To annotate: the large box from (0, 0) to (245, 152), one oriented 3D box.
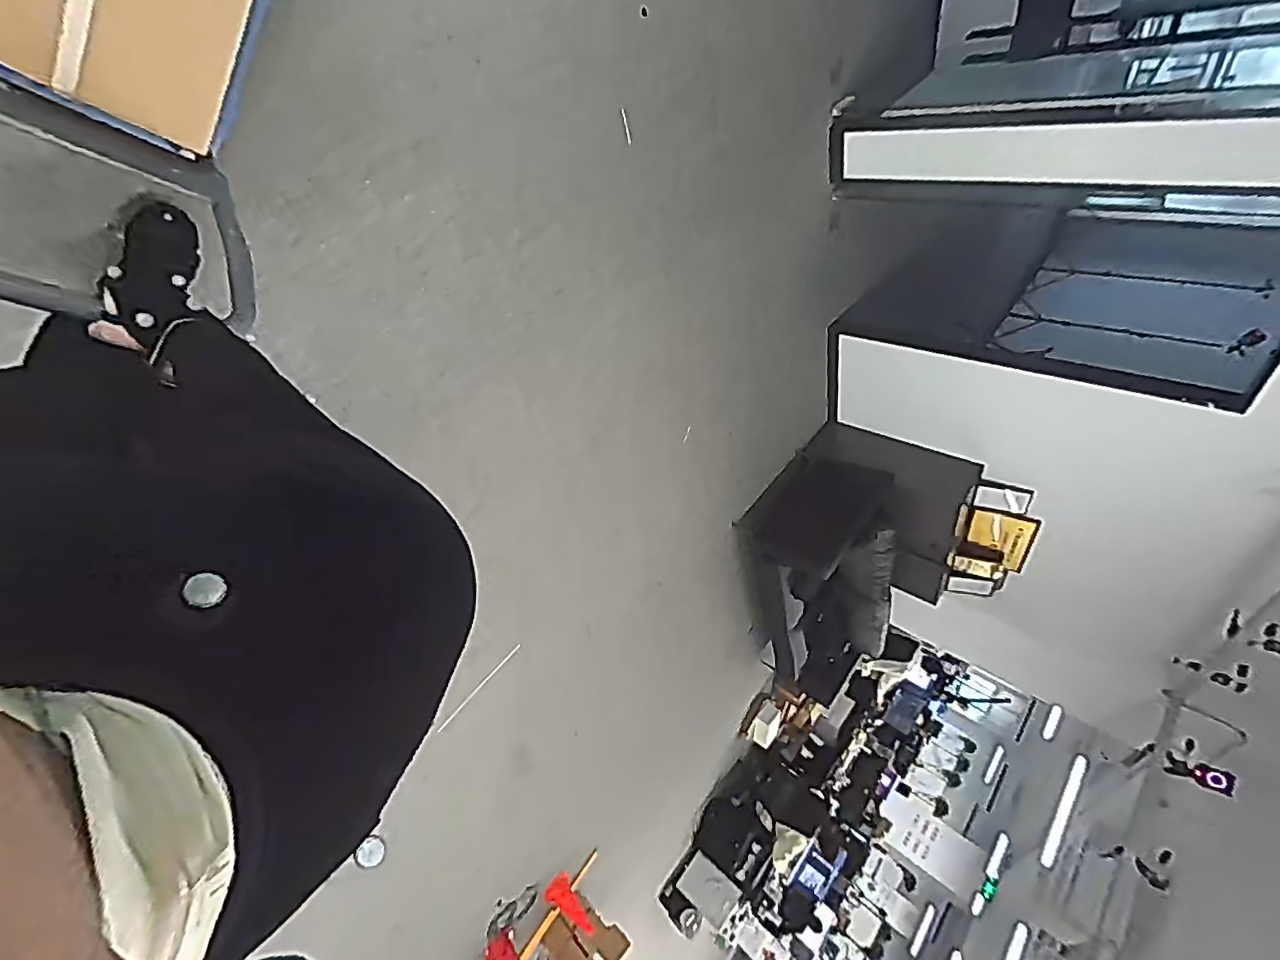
[{"bbox_3d":[-0.759,-0.769,0.743,0.320,0.320,0.408,10,121,-52],"label":"large box"}]
